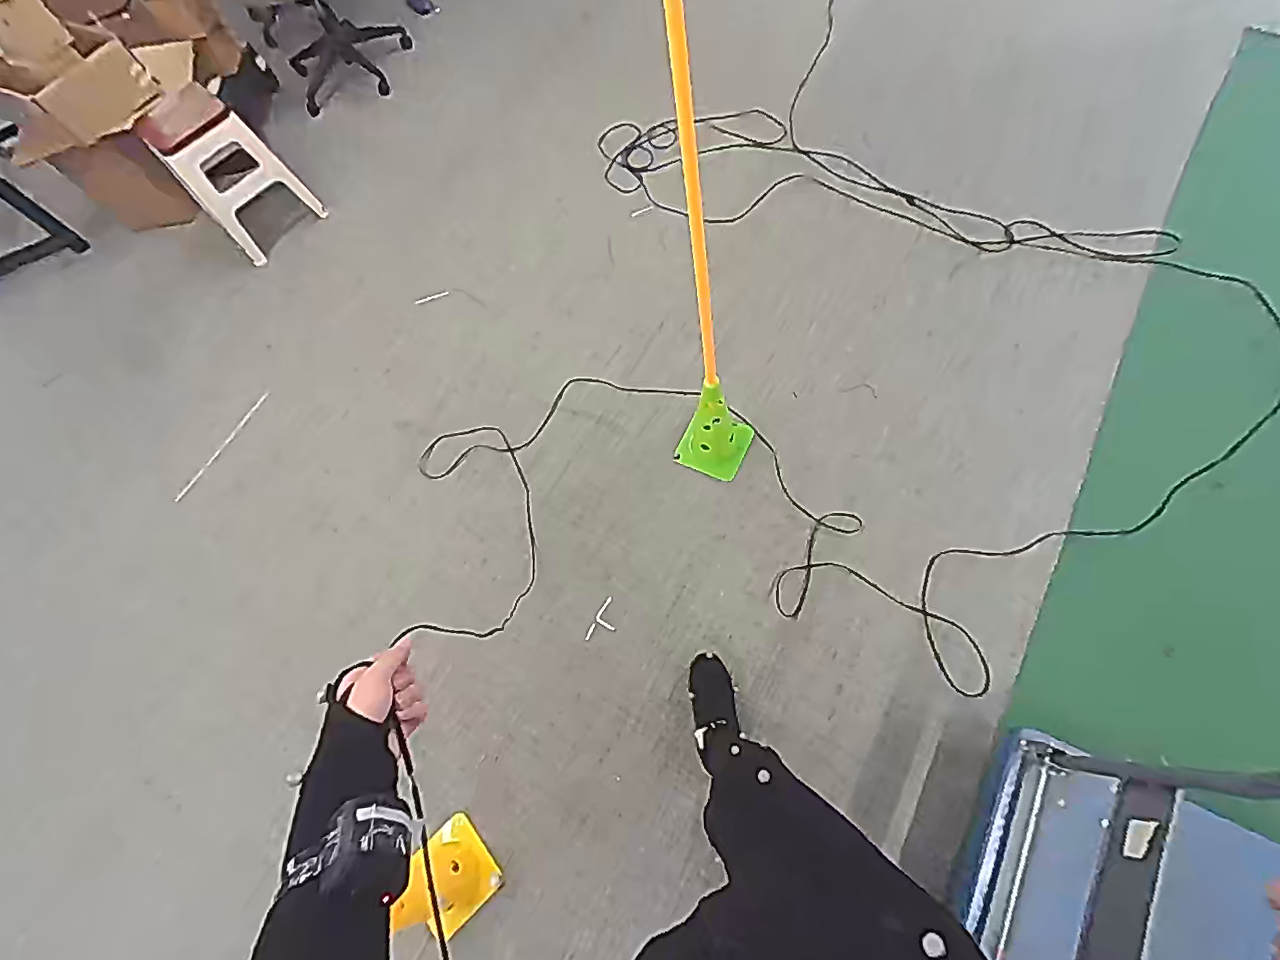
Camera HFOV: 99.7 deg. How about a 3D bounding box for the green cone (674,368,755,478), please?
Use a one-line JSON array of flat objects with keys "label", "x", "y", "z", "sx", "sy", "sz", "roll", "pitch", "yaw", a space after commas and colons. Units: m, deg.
[{"label": "green cone", "x": 0.208, "y": -0.186, "z": 1.504, "sx": 0.200, "sy": 0.368, "sz": 0.202, "roll": 22, "pitch": 71, "yaw": 16}]
